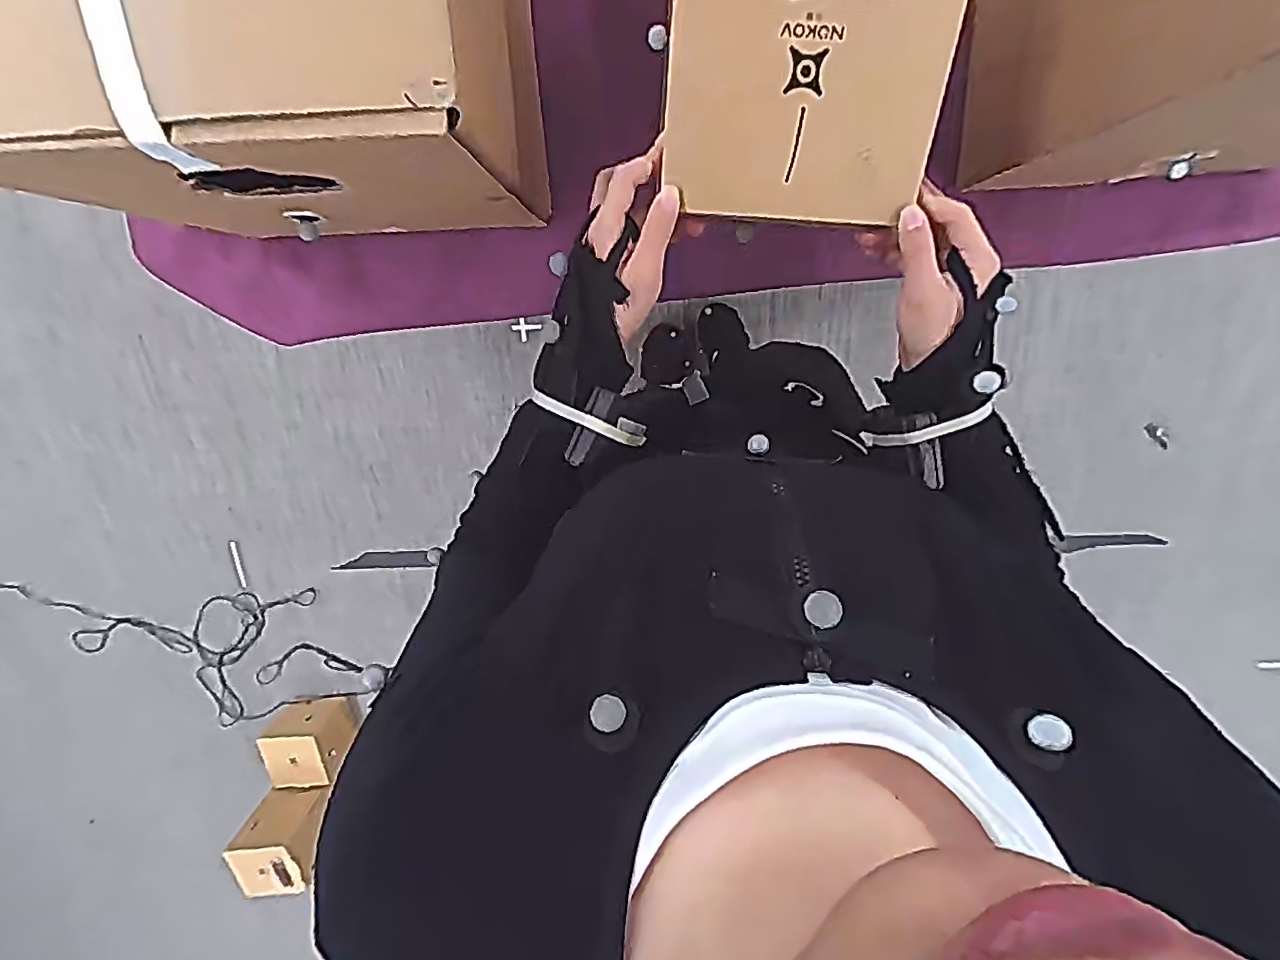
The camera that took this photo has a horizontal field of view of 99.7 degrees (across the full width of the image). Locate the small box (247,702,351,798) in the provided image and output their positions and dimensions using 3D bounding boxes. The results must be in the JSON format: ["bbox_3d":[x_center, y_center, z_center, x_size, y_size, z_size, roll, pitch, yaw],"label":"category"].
[{"bbox_3d":[-0.948,0.756,1.512,0.179,0.176,0.168,20,93,-15],"label":"small box"}]

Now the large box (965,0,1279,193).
[{"bbox_3d":[0.445,-0.442,0.332,0.320,0.320,0.408,-3,106,3],"label":"large box"}]
